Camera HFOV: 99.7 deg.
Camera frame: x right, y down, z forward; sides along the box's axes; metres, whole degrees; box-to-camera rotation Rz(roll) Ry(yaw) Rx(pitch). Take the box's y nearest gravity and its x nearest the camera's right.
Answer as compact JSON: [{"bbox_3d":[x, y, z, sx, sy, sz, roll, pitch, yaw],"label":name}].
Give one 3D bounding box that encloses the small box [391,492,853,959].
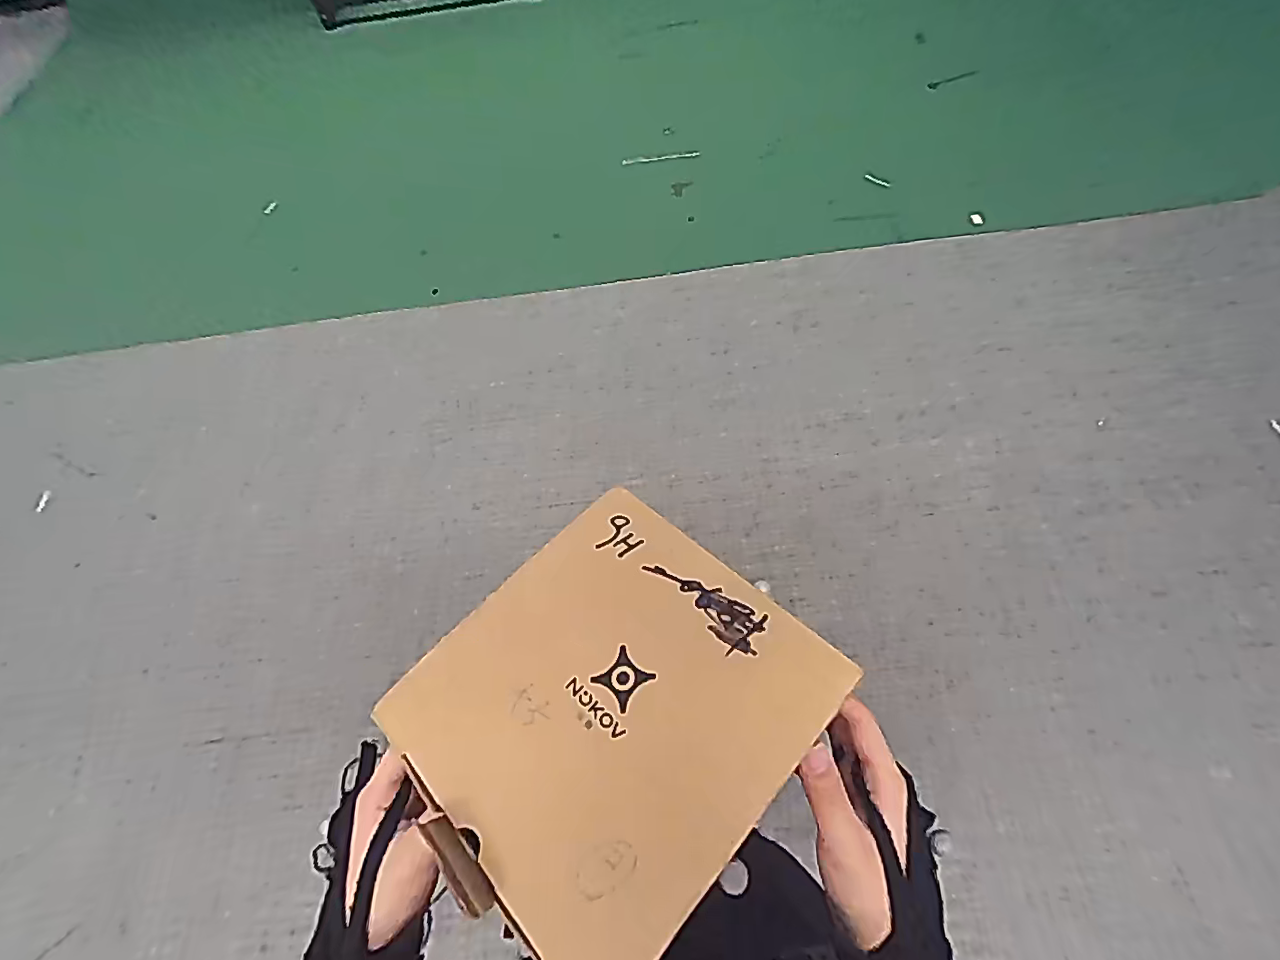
[{"bbox_3d":[-0.002,0.148,0.329,0.168,0.176,0.179,37,68,28],"label":"small box"}]
